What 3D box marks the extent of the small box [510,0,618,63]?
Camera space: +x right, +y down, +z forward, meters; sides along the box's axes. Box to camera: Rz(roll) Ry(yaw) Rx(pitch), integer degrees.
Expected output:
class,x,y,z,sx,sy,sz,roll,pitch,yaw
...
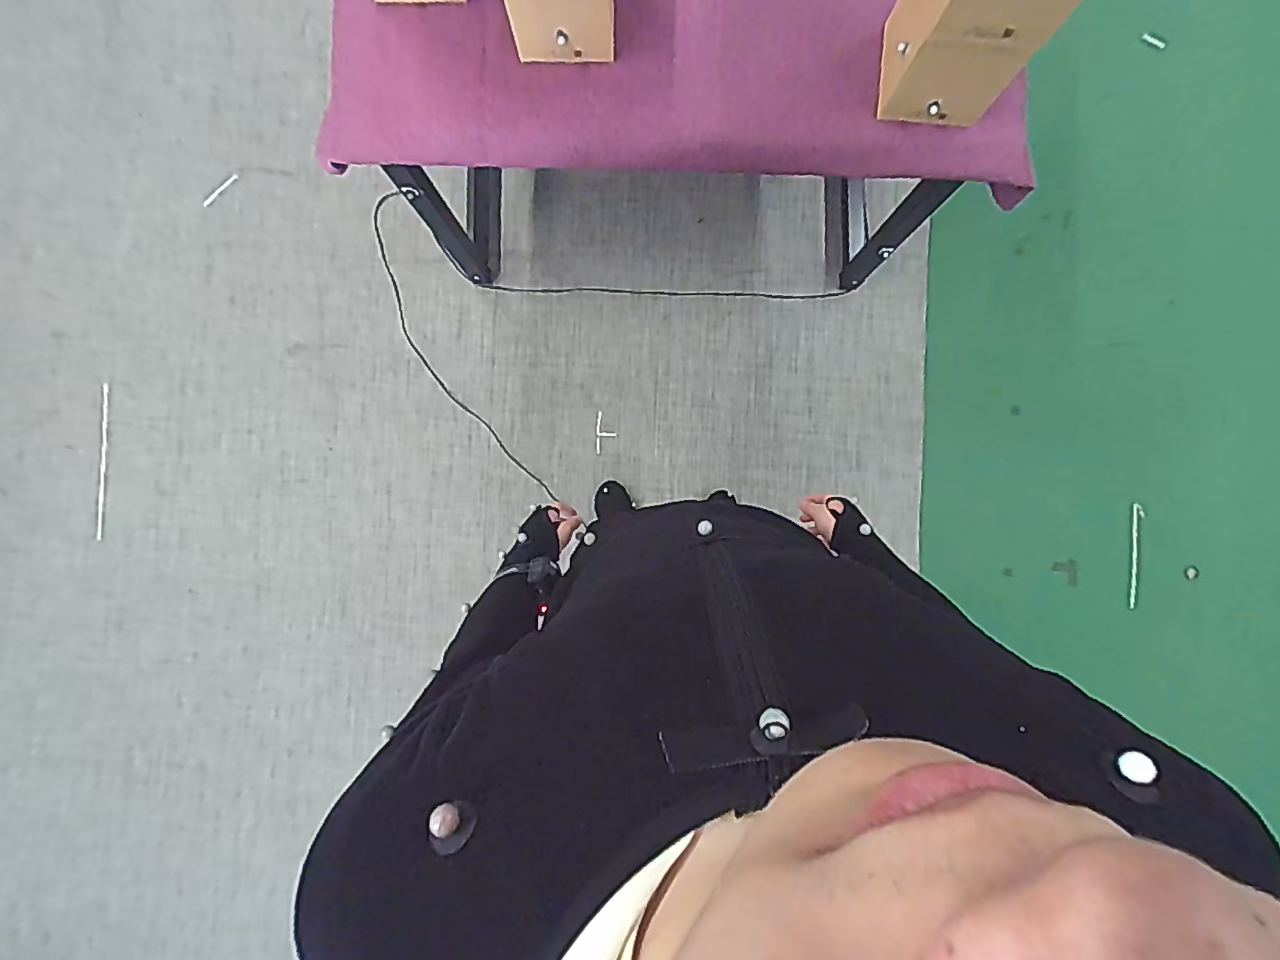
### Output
class,x,y,z,sx,sy,sz,roll,pitch,yaw
small box,-0.123,-0.823,0.869,0.168,0.176,0.179,1,88,1

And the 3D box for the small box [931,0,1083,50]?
class,x,y,z,sx,sy,sz,roll,pitch,yaw
small box,0.501,-0.711,0.695,0.168,0.176,0.179,6,87,2

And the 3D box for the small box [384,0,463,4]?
class,x,y,z,sx,sy,sz,roll,pitch,yaw
small box,-0.383,-0.929,0.874,0.168,0.176,0.179,-1,89,1
